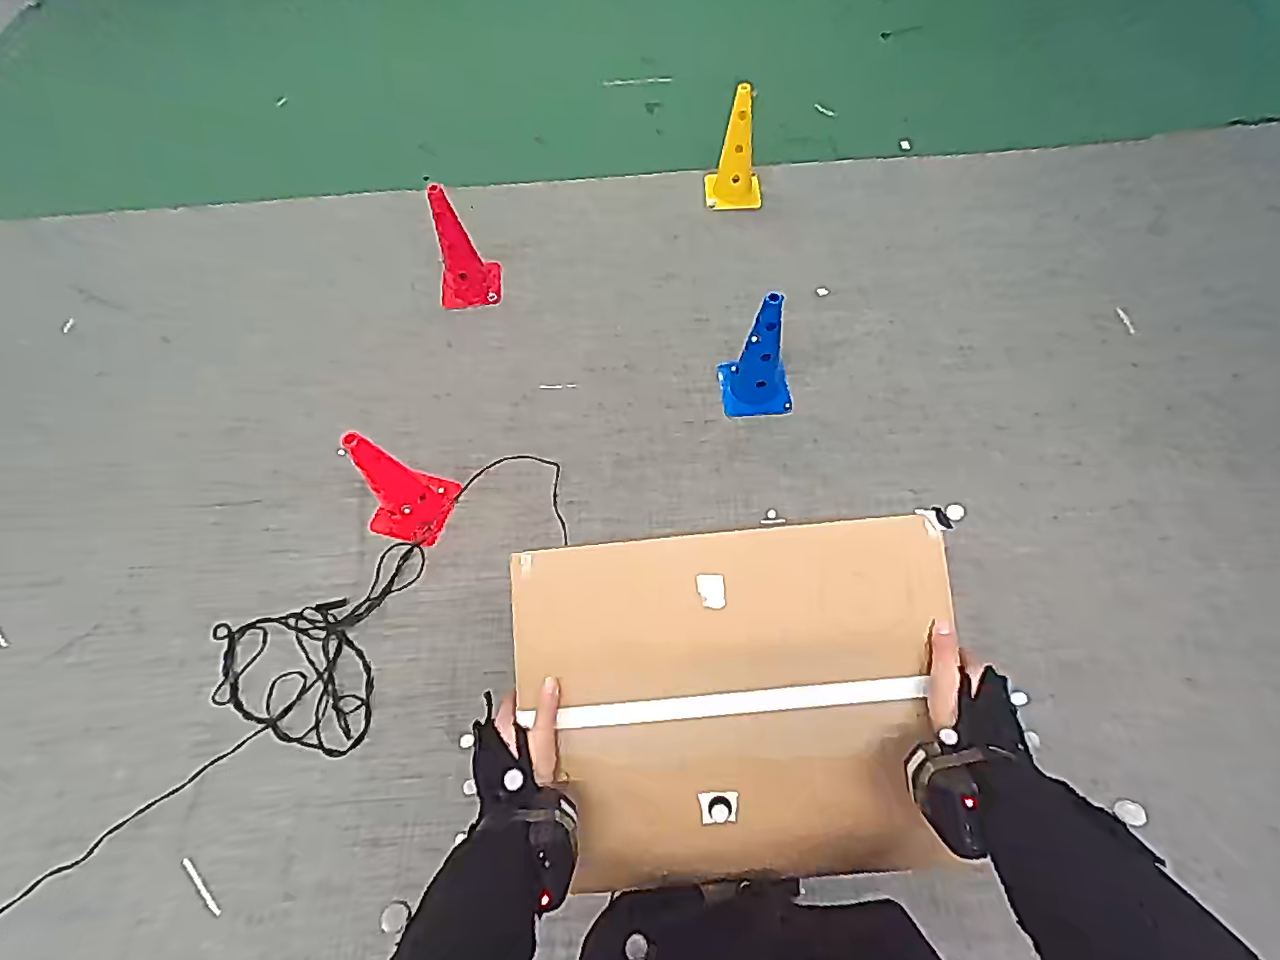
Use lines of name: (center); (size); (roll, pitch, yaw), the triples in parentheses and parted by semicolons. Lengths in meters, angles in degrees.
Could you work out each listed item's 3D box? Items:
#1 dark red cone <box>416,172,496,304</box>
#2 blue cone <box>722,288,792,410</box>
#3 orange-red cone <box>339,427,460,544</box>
dark red cone: (-0.597, -0.762, 1.693); (0.202, 0.394, 0.201); (-10, 59, -2)
blue cone: (0.334, -0.363, 1.462); (0.192, 0.380, 0.193); (-3, 62, 2)
orange-red cone: (-0.622, -0.013, 1.321); (0.199, 0.360, 0.198); (14, 63, 12)
